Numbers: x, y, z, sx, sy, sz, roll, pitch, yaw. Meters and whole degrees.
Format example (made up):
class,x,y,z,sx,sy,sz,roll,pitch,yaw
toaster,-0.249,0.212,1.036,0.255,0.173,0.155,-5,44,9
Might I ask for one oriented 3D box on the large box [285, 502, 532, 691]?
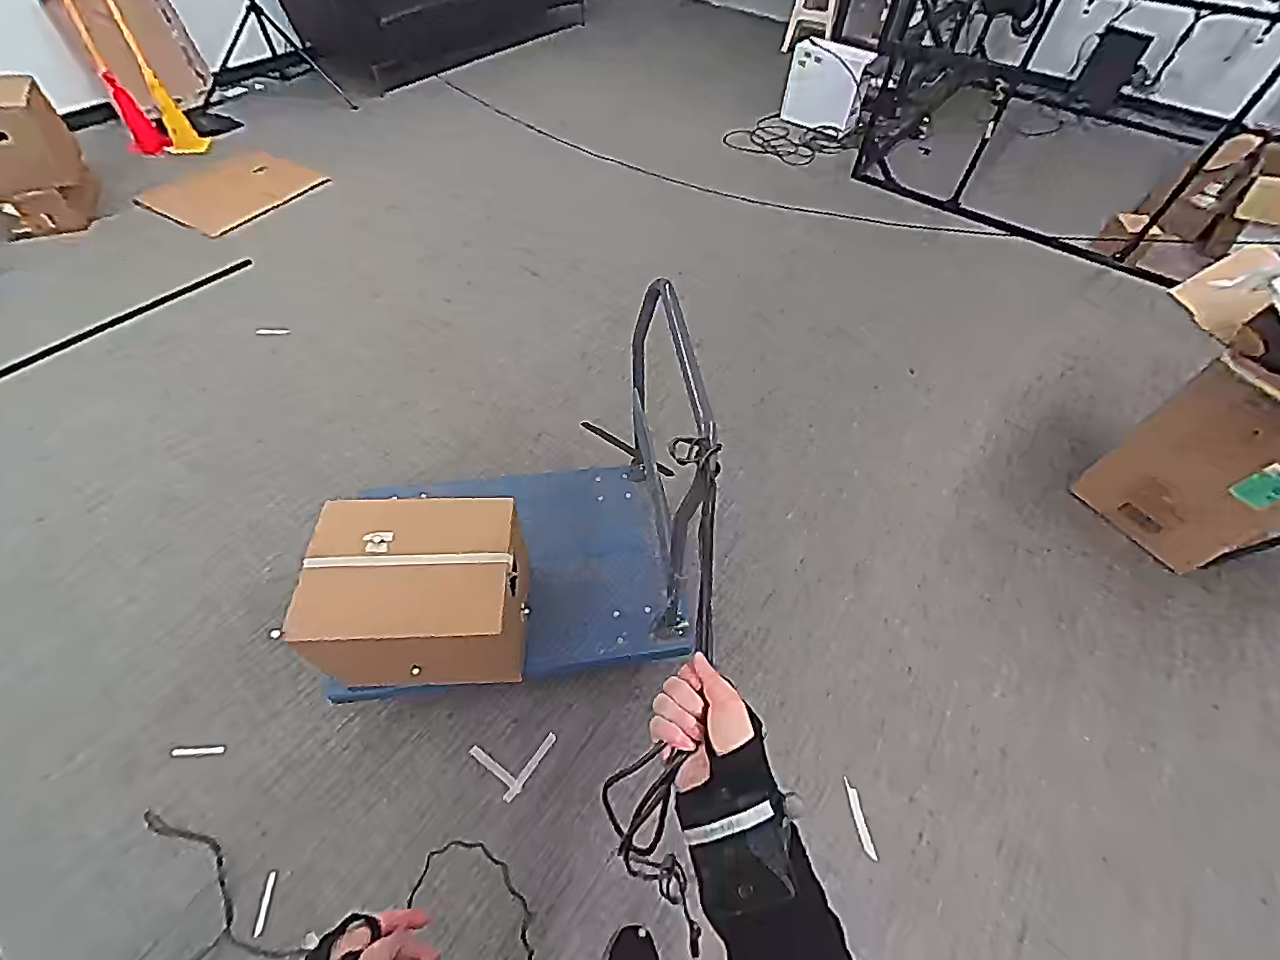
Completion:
class,x,y,z,sx,sy,sz,roll,pitch,yaw
large box,-0.464,0.265,1.202,0.408,0.320,0.320,-2,53,-4
